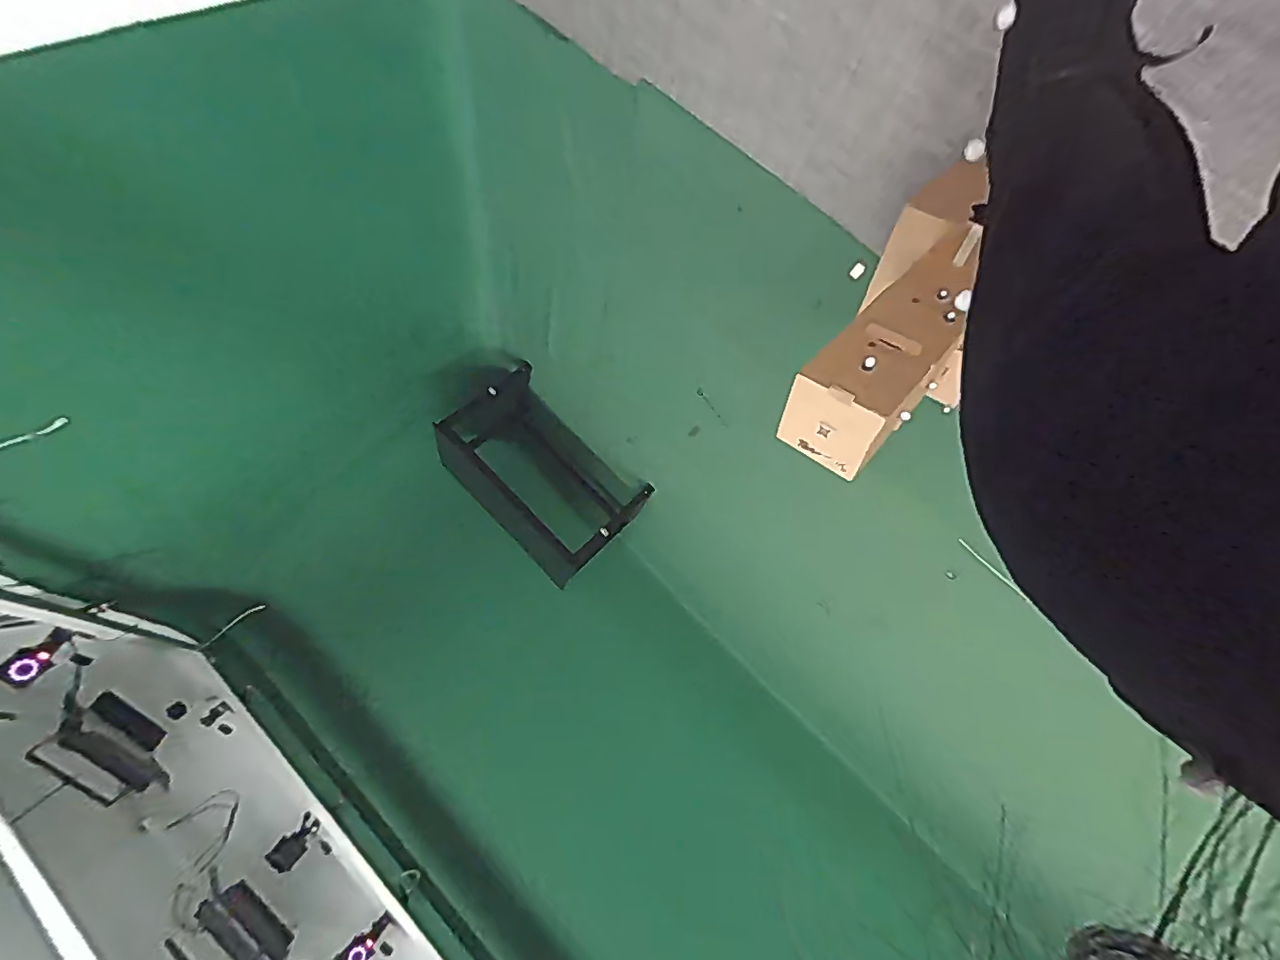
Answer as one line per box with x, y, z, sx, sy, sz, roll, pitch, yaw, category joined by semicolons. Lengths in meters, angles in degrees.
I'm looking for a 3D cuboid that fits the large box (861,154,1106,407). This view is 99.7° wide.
0.761;-0.463;1.268;0.320;0.320;0.408;38;154;23;large box

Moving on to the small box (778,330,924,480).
0.382;-0.141;0.982;0.168;0.176;0.179;37;151;23;small box

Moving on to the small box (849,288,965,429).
0.494;-0.240;1.050;0.168;0.176;0.179;36;152;23;small box

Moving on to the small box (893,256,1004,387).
0.607;-0.334;1.123;0.179;0.176;0.168;37;152;22;small box
